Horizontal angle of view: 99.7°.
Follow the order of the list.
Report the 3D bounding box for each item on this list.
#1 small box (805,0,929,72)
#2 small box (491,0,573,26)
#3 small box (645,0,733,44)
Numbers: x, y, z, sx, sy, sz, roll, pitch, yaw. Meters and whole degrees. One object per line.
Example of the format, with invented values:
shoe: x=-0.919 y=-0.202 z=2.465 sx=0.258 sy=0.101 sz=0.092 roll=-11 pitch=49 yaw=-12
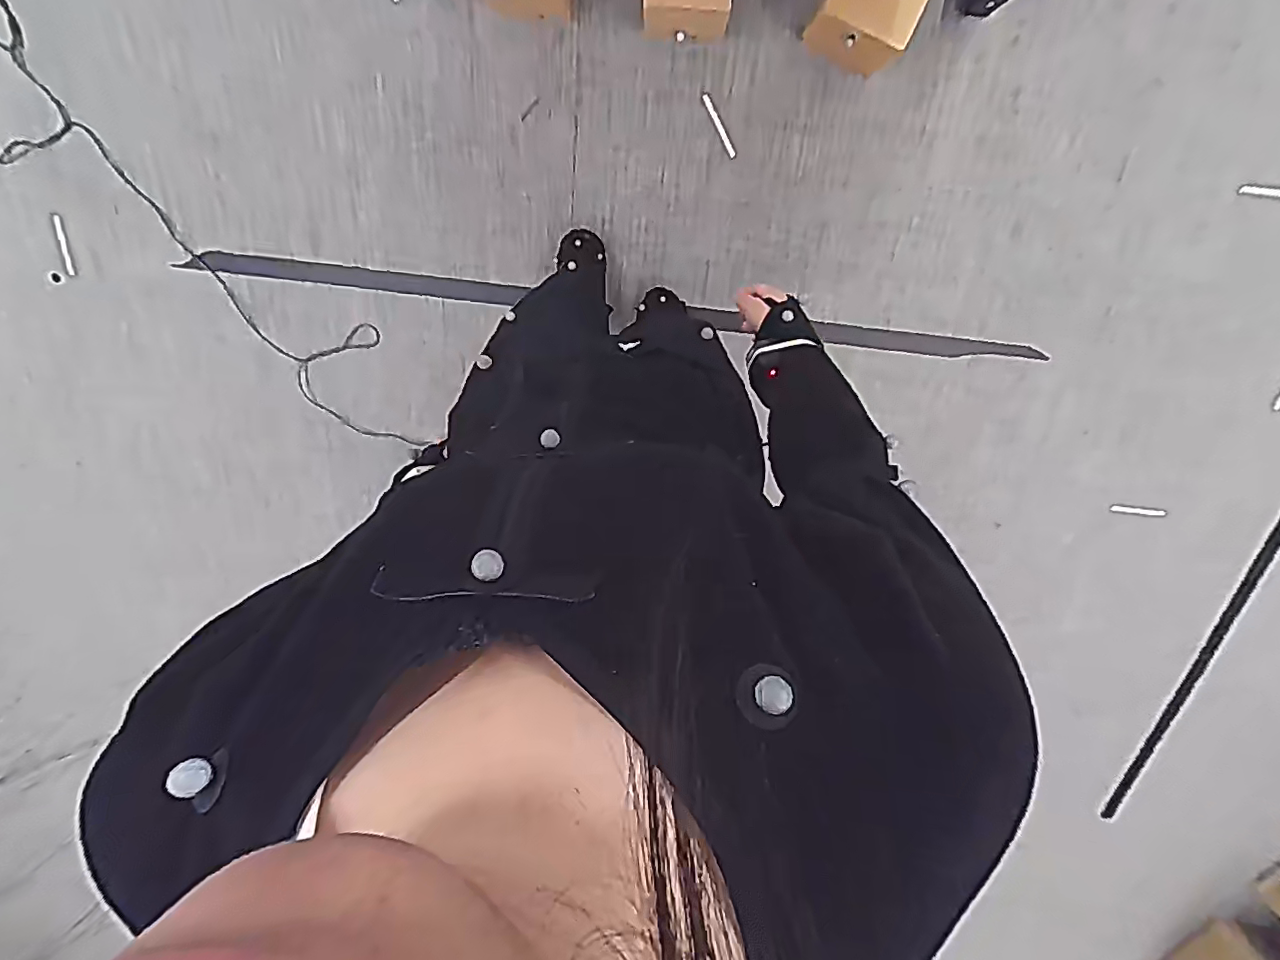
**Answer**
small box: x=0.452 y=-0.937 z=1.054 sx=0.179 sy=0.176 sz=0.168 roll=22 pitch=112 yaw=-6
small box: x=-0.217 y=-1.024 z=1.037 sx=0.168 sy=0.176 sz=0.179 roll=7 pitch=111 yaw=-1
small box: x=0.098 y=-0.986 z=1.043 sx=0.168 sy=0.176 sz=0.179 roll=5 pitch=113 yaw=0
